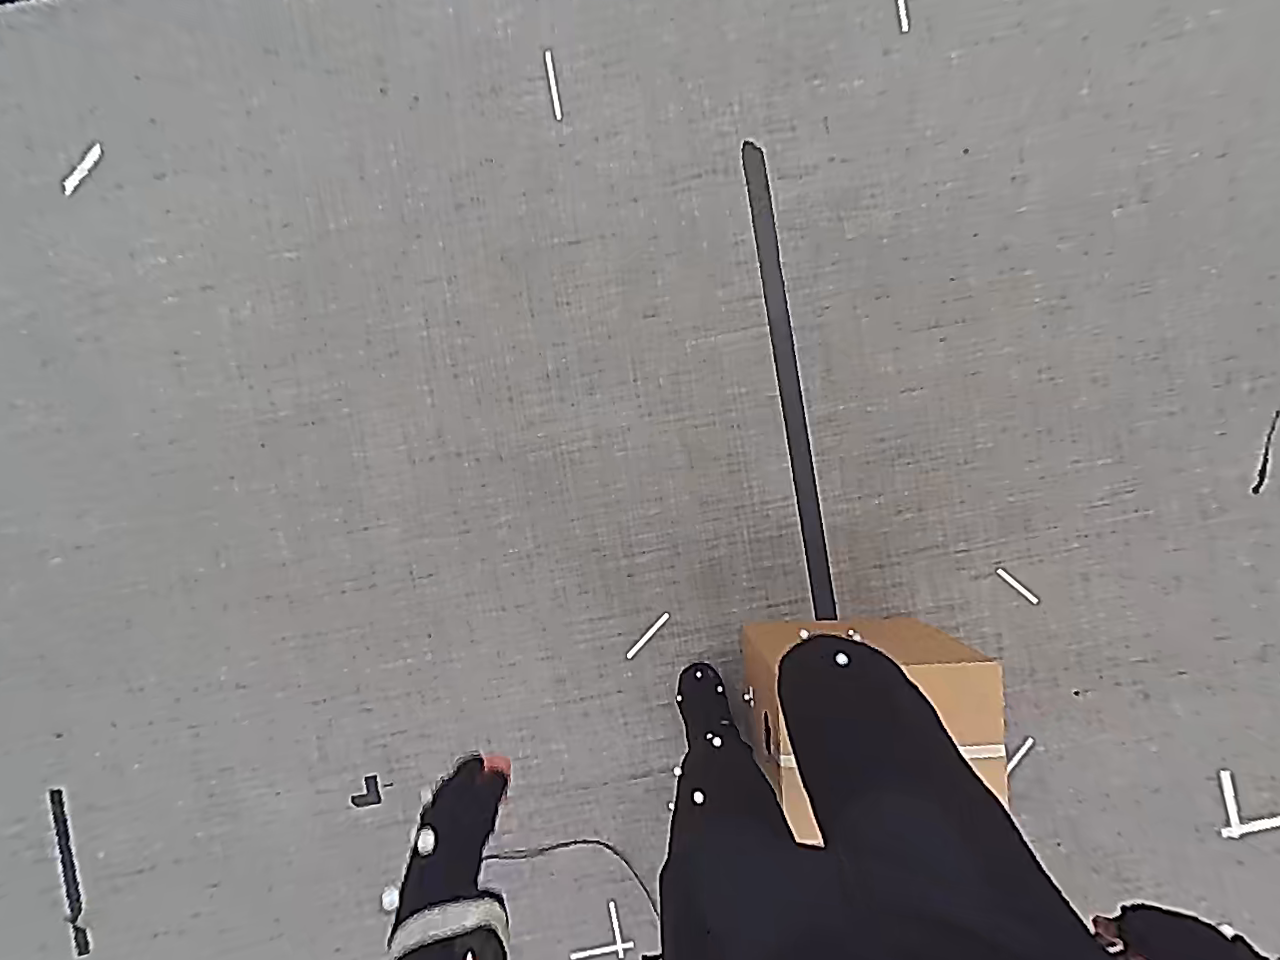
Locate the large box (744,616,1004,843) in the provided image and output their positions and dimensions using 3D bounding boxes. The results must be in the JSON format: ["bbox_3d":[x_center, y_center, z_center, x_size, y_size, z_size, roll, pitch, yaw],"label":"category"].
[{"bbox_3d":[0.448,0.482,1.112,0.408,0.320,0.320,-3,90,-1],"label":"large box"}]
